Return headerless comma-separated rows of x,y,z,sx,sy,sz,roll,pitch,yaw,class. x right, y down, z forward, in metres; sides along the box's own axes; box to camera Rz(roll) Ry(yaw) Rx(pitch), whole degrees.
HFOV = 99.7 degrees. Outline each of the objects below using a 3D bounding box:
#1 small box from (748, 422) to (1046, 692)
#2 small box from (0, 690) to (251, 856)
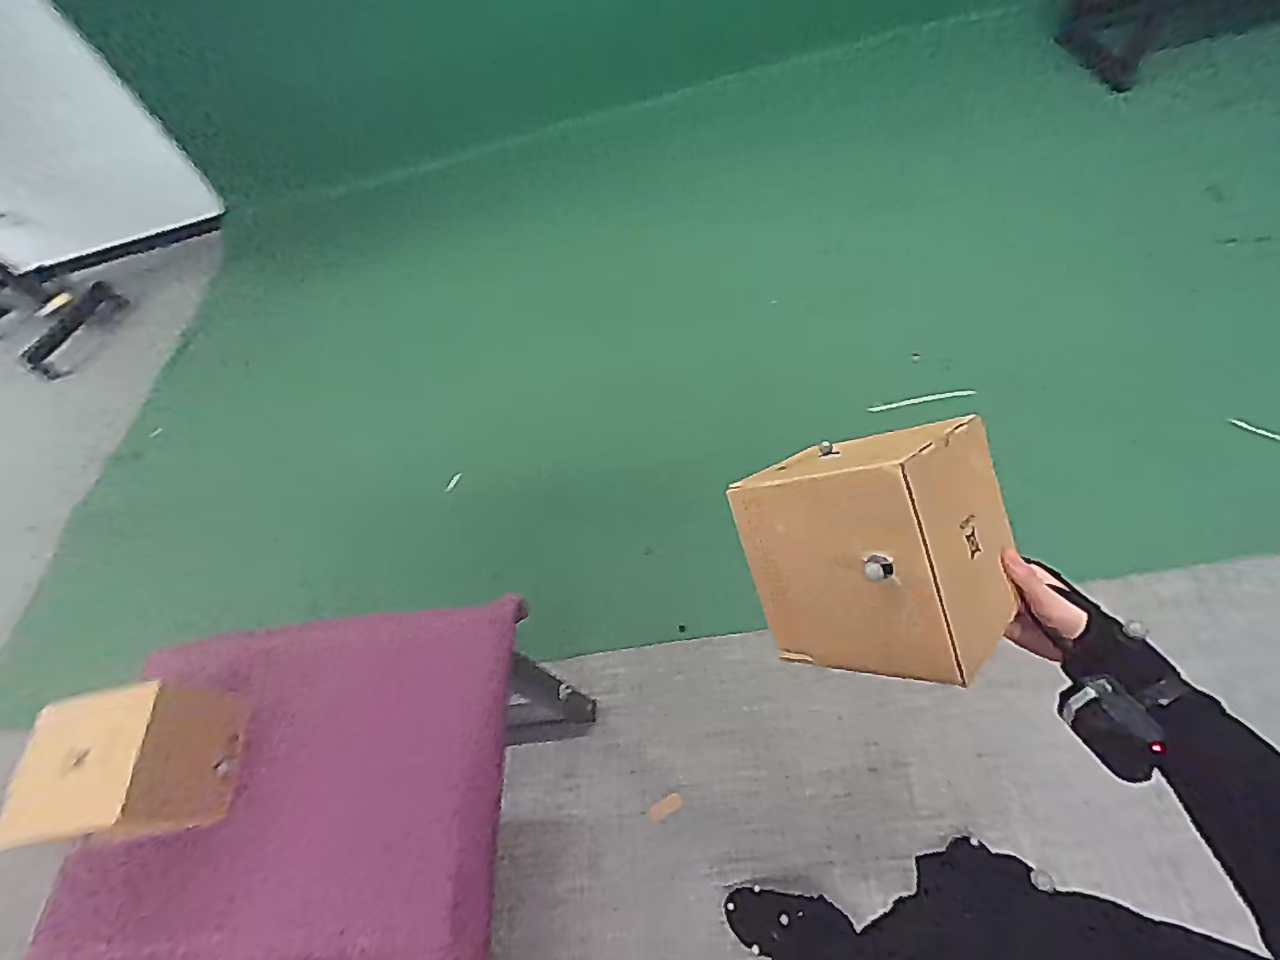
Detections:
0.228,0.062,0.491,0.168,0.179,0.176,-19,3,-39,small box
-0.689,0.401,0.736,0.179,0.176,0.168,-13,57,4,small box
